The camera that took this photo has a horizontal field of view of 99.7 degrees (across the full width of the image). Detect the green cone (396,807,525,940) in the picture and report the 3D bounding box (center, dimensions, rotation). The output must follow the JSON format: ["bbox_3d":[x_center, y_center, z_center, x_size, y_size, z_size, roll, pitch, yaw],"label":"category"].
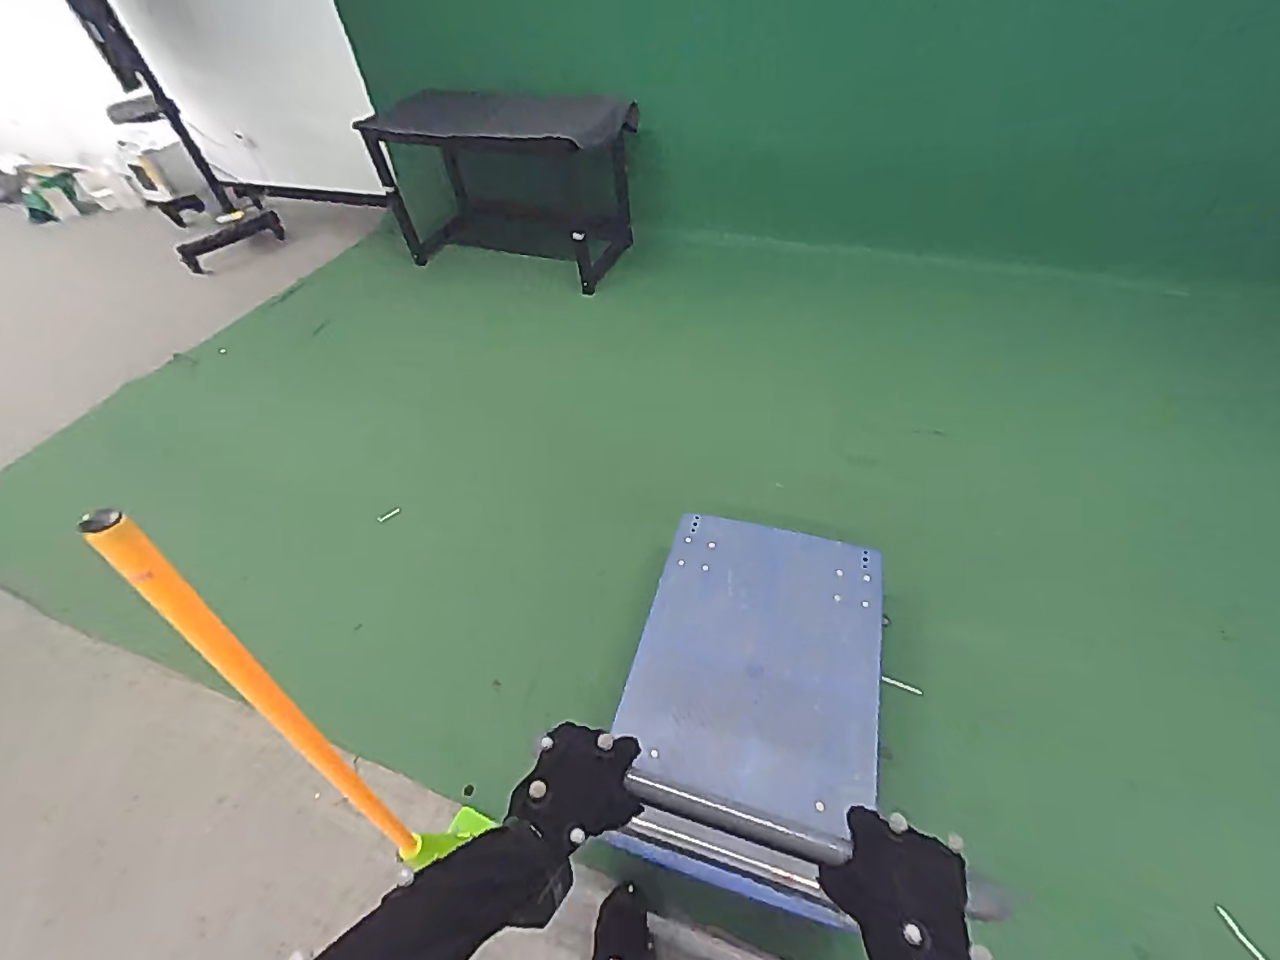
[{"bbox_3d":[-0.399,0.762,1.096,0.202,0.368,0.200,17,51,20],"label":"green cone"}]
